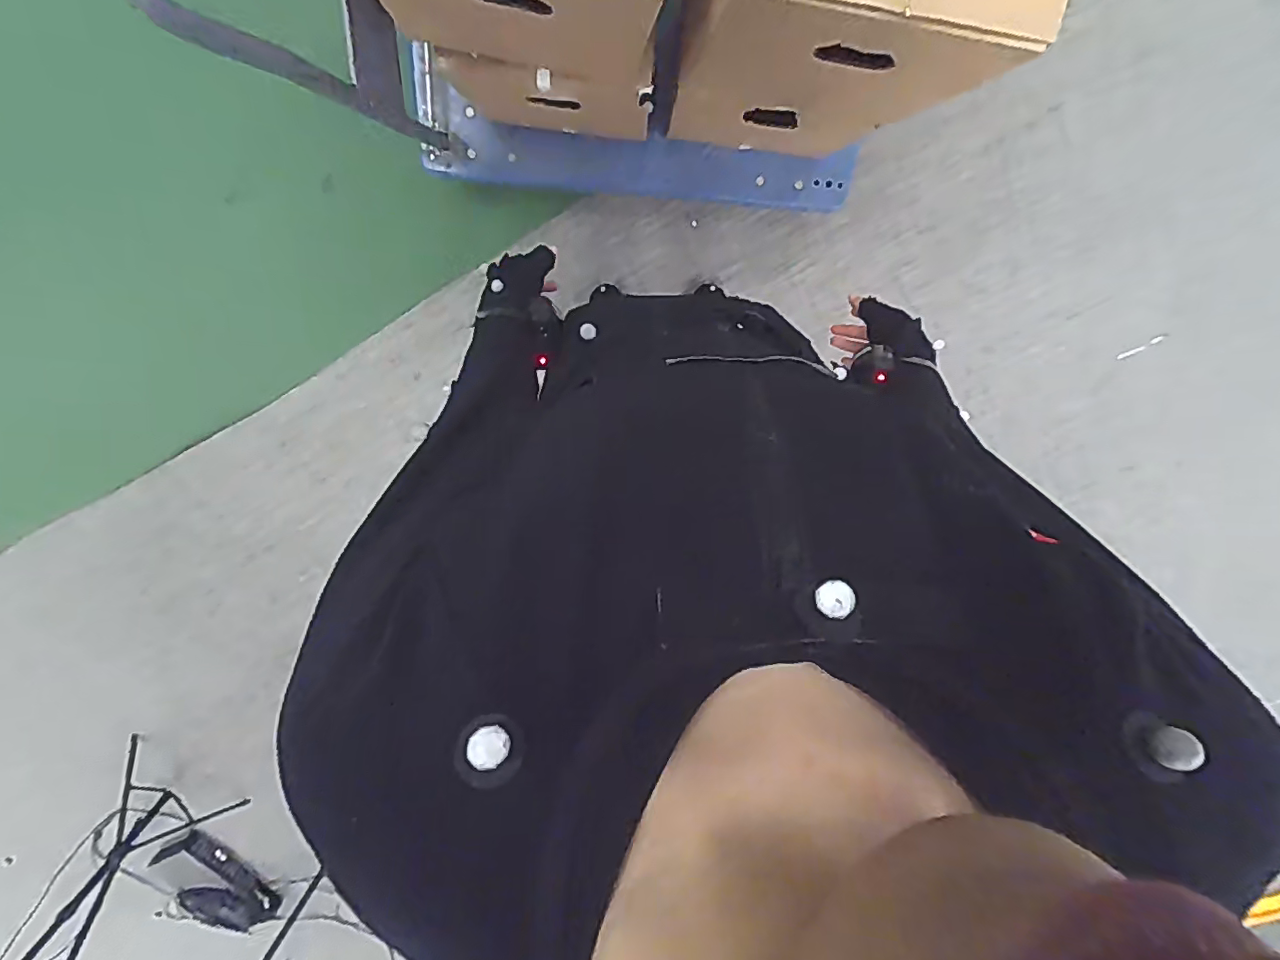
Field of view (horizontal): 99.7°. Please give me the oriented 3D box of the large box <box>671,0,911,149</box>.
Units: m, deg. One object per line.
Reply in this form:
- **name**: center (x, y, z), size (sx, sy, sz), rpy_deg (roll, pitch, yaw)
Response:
- **large box**: center (0.227, -0.790, 0.851), size (0.320, 0.320, 0.408), rpy_deg (6, 114, -1)
